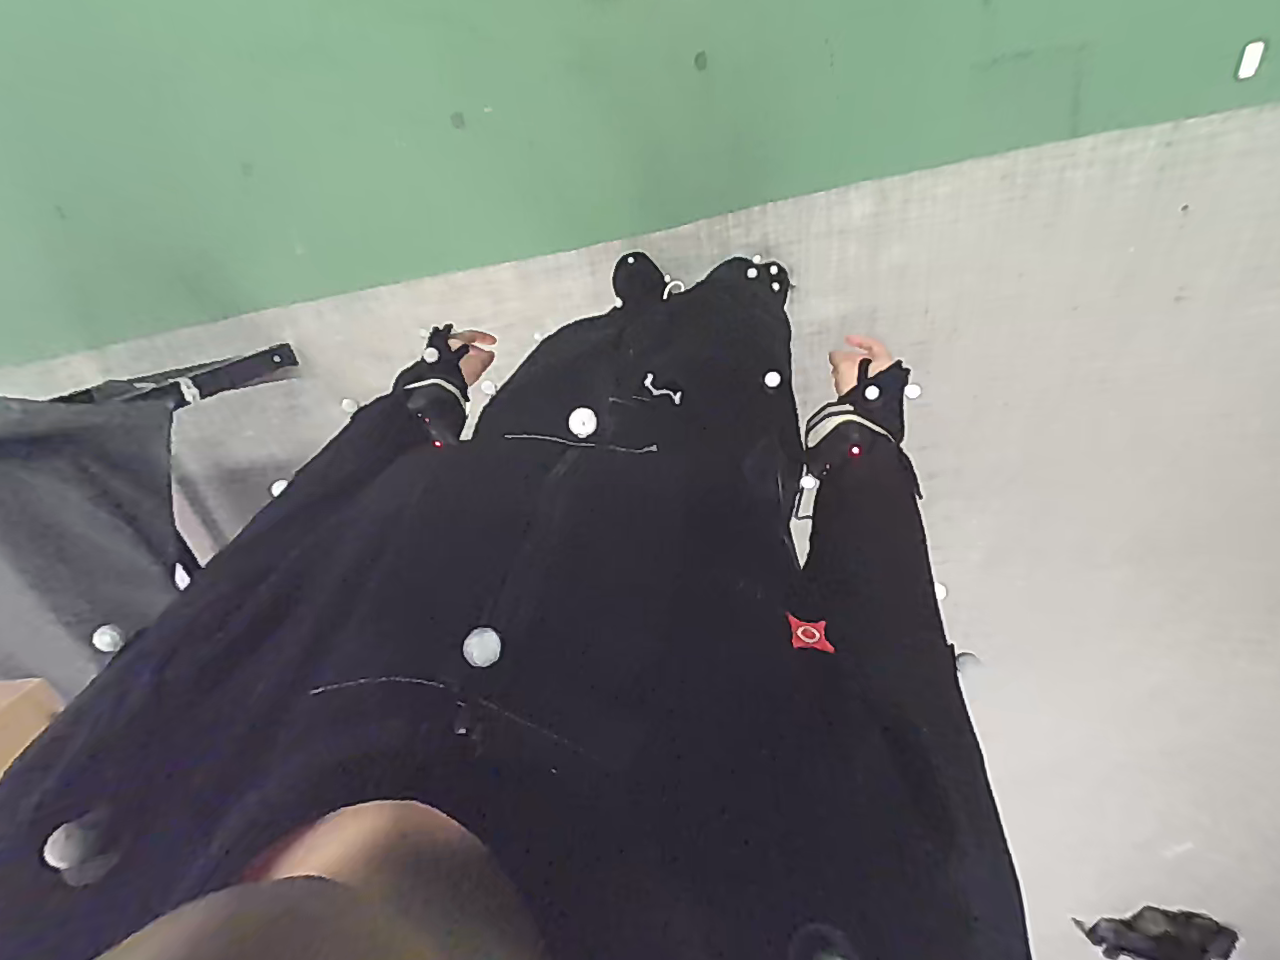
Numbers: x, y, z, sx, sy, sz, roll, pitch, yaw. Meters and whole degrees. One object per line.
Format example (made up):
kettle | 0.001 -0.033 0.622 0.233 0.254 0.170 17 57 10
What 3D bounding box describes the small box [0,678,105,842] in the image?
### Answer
small box | -1.019 0.431 0.841 0.179 0.176 0.168 -7 117 9
